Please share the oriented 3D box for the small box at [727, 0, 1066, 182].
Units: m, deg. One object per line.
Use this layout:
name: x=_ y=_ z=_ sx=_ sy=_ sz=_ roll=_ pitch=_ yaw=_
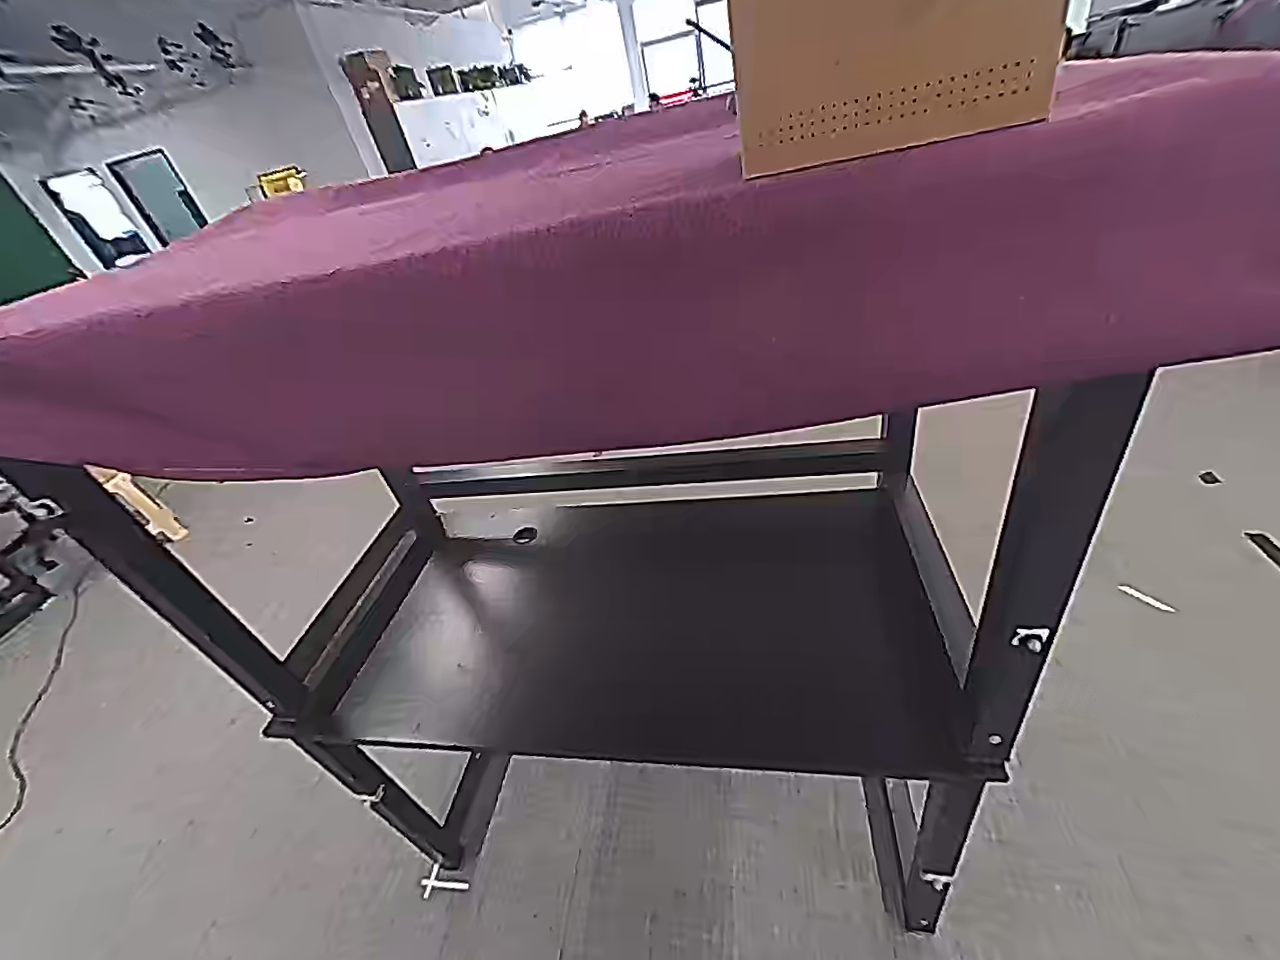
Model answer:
small box: x=0.153 y=-0.310 z=0.345 sx=0.179 sy=0.176 sz=0.168 roll=-2 pitch=36 yaw=19
